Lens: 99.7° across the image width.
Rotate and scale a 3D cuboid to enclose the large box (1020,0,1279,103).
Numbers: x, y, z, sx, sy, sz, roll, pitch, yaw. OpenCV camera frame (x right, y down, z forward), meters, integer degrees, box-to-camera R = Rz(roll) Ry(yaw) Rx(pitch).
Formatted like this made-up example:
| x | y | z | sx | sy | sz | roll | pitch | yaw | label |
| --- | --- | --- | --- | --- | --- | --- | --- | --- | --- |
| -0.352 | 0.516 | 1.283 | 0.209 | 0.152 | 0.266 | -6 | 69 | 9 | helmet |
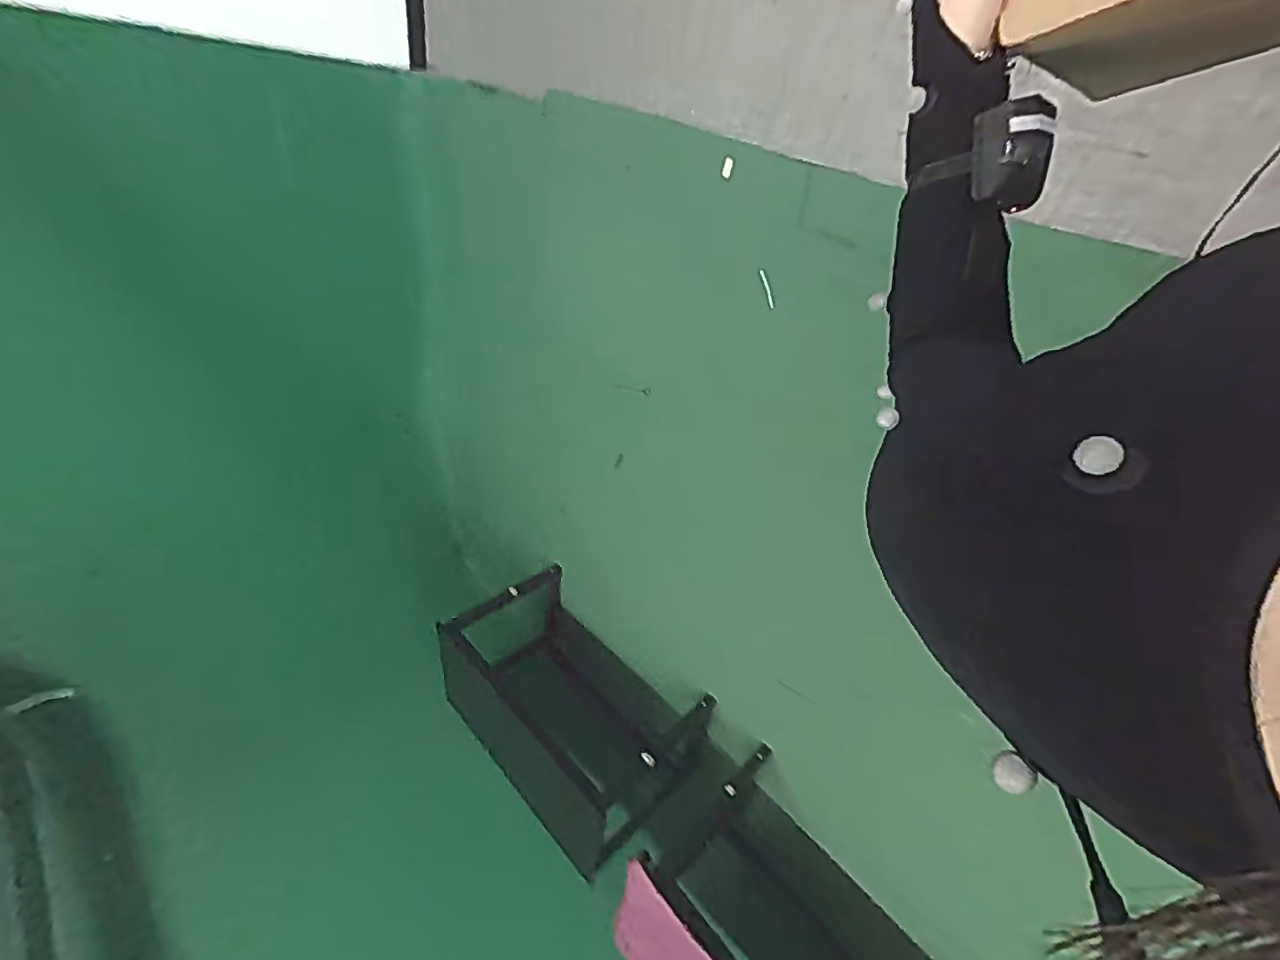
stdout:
| x | y | z | sx | sy | sz | roll | pitch | yaw | label |
| --- | --- | --- | --- | --- | --- | --- | --- | --- | --- |
| 0.472 | -0.471 | 0.284 | 0.408 | 0.320 | 0.320 | 7 | 113 | 46 | large box |
